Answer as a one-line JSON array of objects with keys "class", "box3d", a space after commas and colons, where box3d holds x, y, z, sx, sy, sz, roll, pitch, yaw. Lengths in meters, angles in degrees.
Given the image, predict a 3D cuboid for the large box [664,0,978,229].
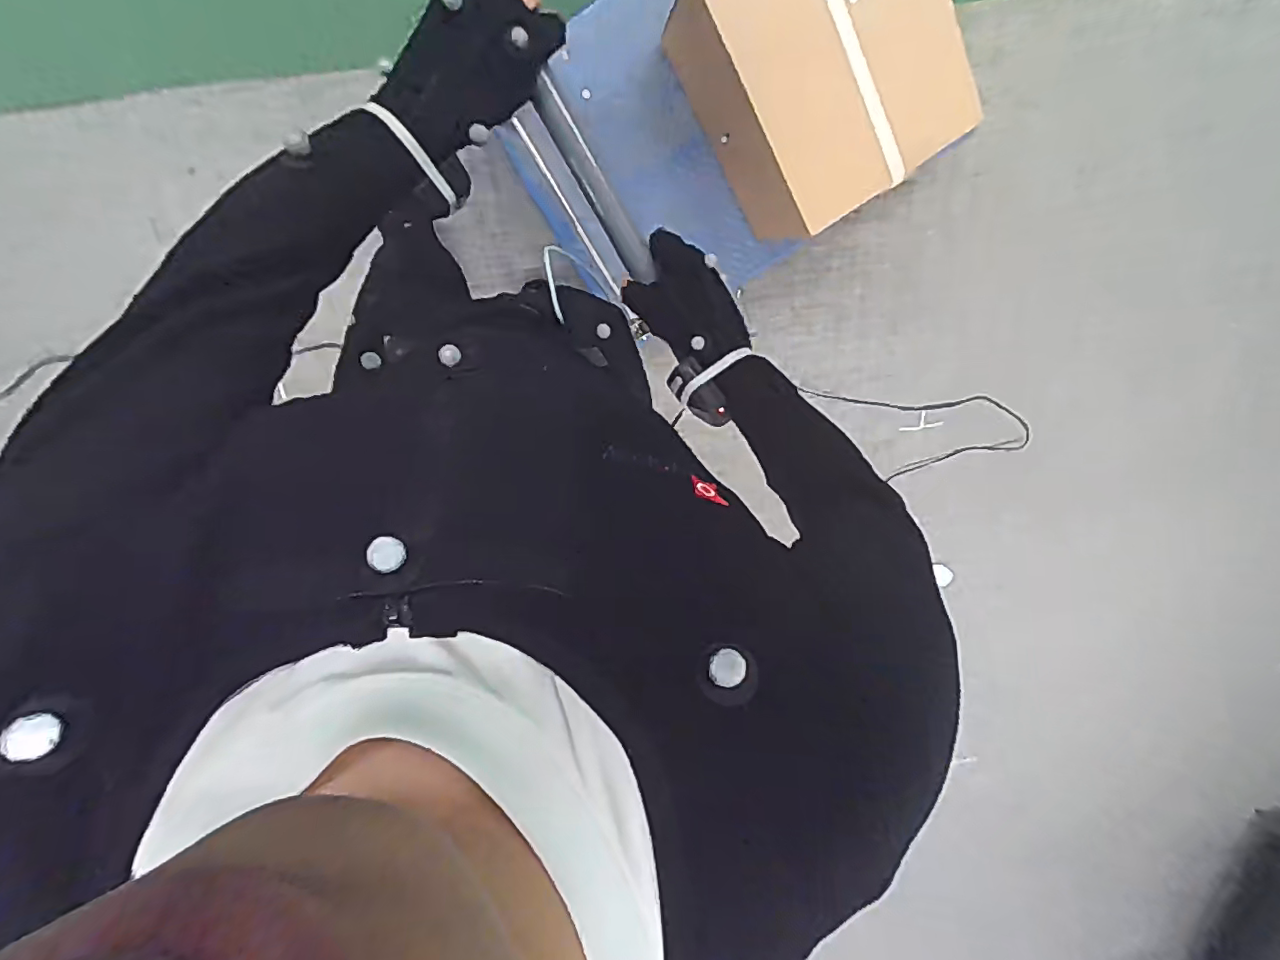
[{"class": "large box", "box3d": [0.287, -0.704, 0.931, 0.320, 0.320, 0.408, -32, 113, 8]}]
